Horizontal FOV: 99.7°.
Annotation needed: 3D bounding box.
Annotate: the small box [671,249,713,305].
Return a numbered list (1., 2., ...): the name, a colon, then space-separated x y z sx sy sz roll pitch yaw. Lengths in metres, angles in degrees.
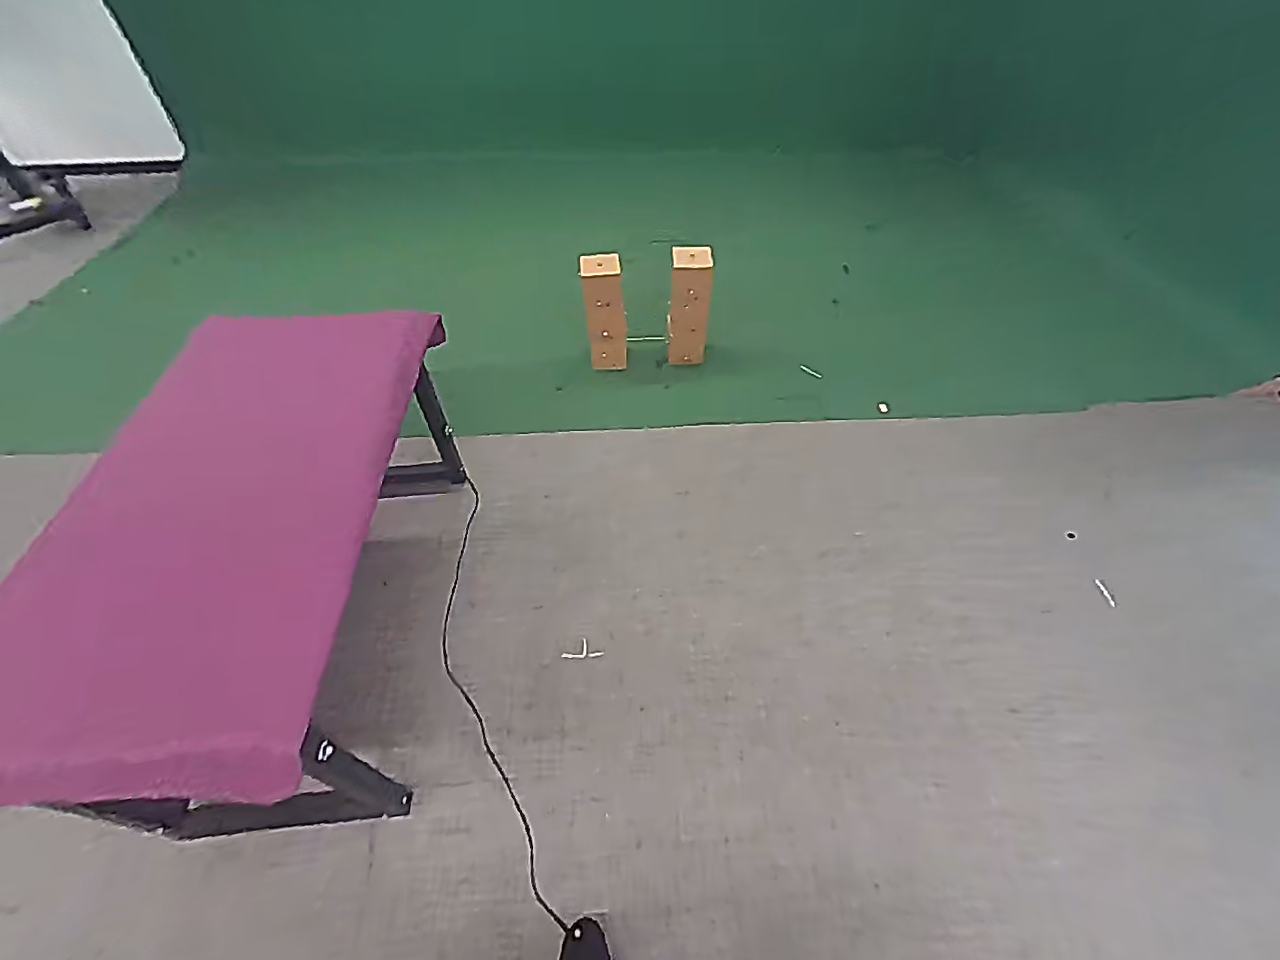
1. small box: 0.225 -0.887 2.361 0.168 0.176 0.179 0 50 0

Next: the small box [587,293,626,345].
1. small box: -0.153 -0.737 2.455 0.168 0.176 0.179 -5 50 -3

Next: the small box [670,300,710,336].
1. small box: 0.227 -0.784 2.490 0.168 0.176 0.179 0 49 0

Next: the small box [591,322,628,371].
1. small box: -0.144 -0.635 2.584 0.168 0.176 0.179 -2 49 -1

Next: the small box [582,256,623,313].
1. small box: -0.163 -0.842 2.331 0.168 0.176 0.179 -5 49 -2
